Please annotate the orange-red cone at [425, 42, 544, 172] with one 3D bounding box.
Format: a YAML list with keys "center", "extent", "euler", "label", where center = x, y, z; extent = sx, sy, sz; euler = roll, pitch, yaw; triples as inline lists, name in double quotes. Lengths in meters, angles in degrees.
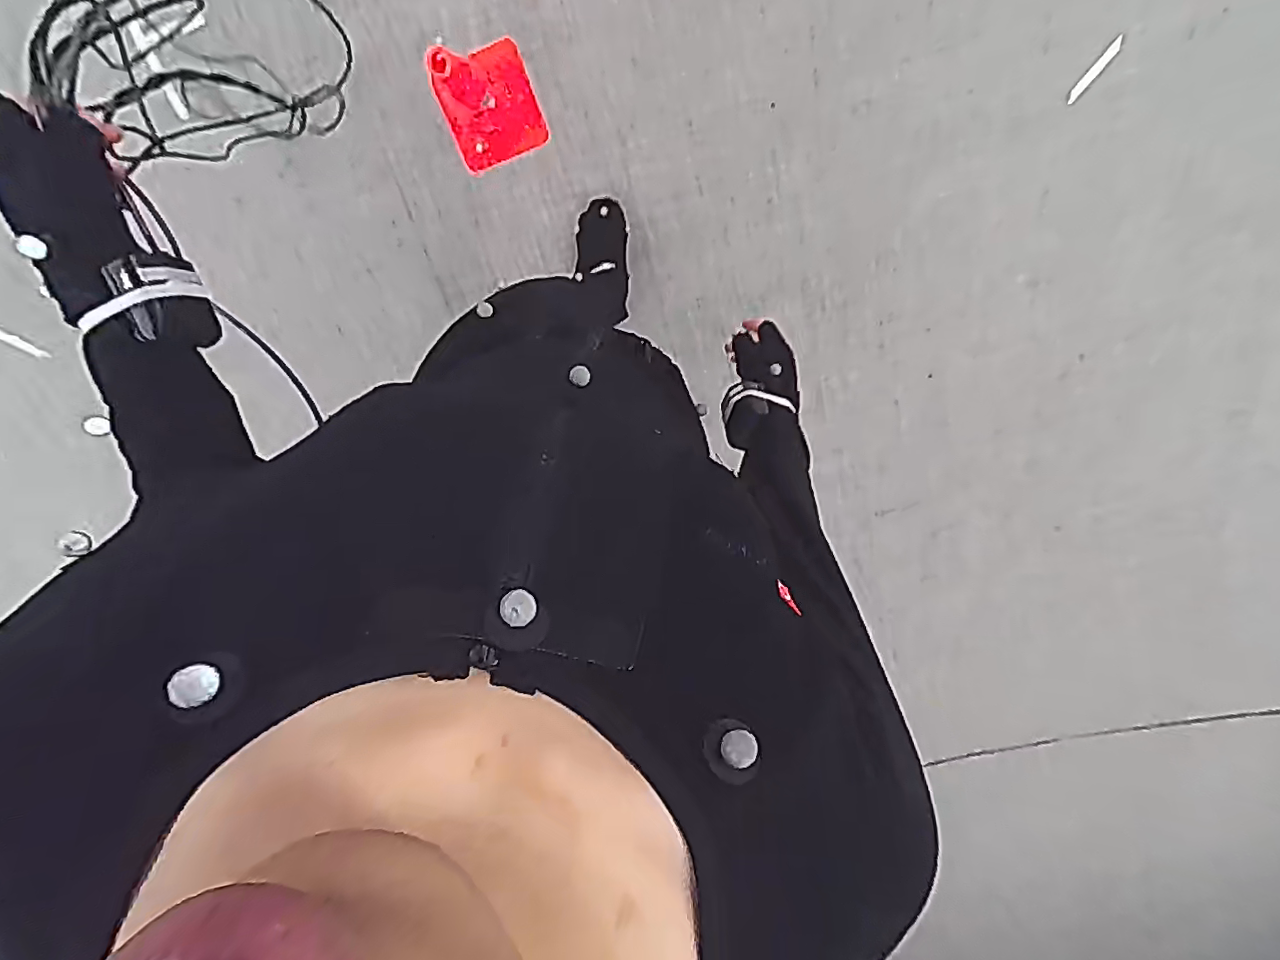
- center: [-0.320, -0.718, 0.995]
  extent: [0.199, 0.360, 0.198]
  euler: [-19, 114, 6]
  label: "orange-red cone"
